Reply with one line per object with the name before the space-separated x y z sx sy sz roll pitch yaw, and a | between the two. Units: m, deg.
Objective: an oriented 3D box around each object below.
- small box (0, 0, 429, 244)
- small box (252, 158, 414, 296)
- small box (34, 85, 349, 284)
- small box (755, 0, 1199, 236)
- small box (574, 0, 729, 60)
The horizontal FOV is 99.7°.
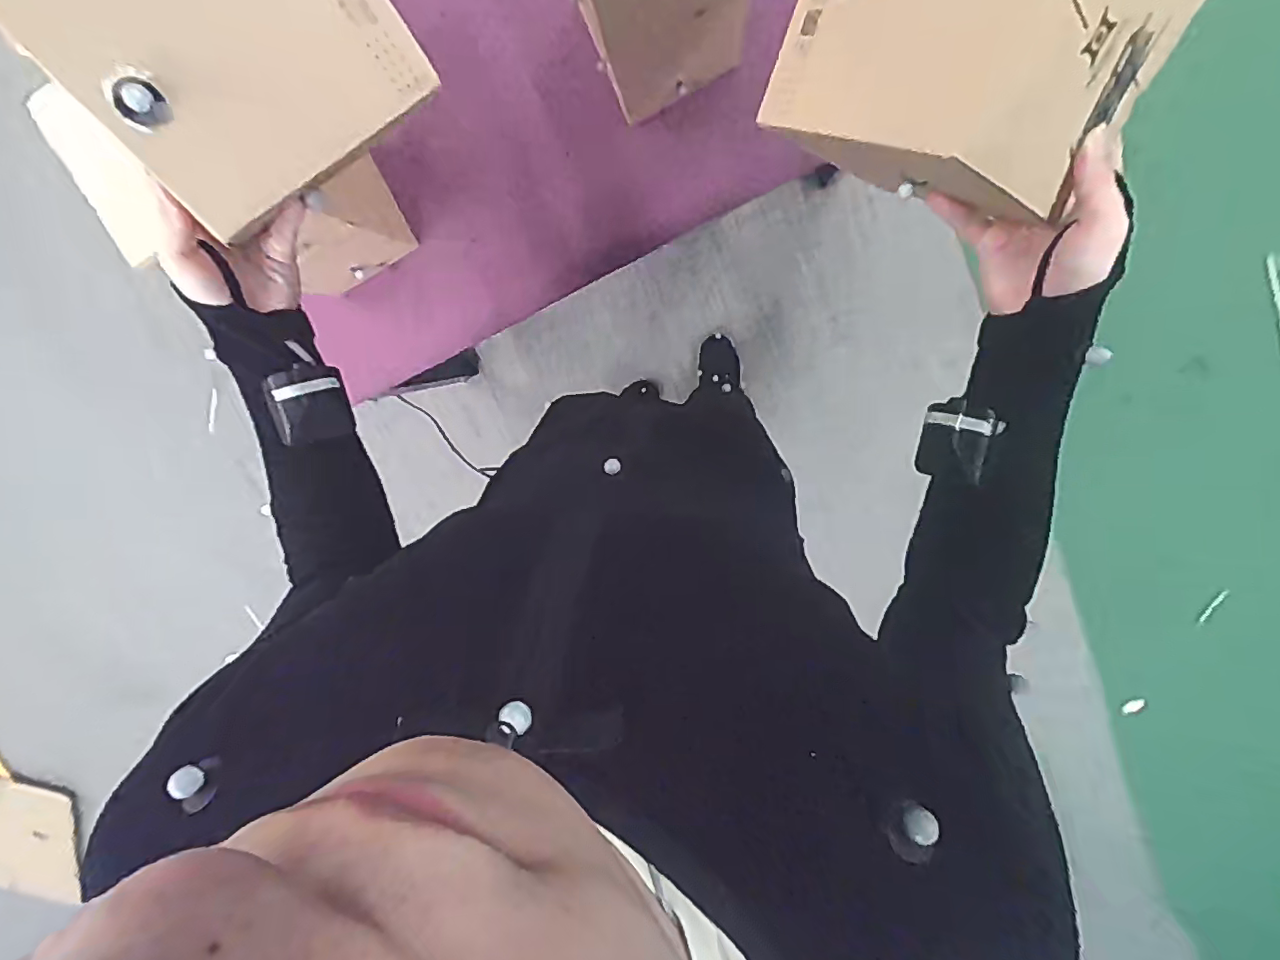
small box | -0.265 -0.276 0.348 0.176 0.179 0.168 -44 126 -11
small box | -0.463 -0.381 0.766 0.168 0.176 0.179 -25 100 12
small box | -0.479 -0.344 0.608 0.168 0.176 0.179 -26 101 11
small box | 0.215 -0.289 0.365 0.179 0.176 0.168 -1 123 -36
small box | -0.006 -0.544 0.505 0.168 0.176 0.179 -24 101 11
